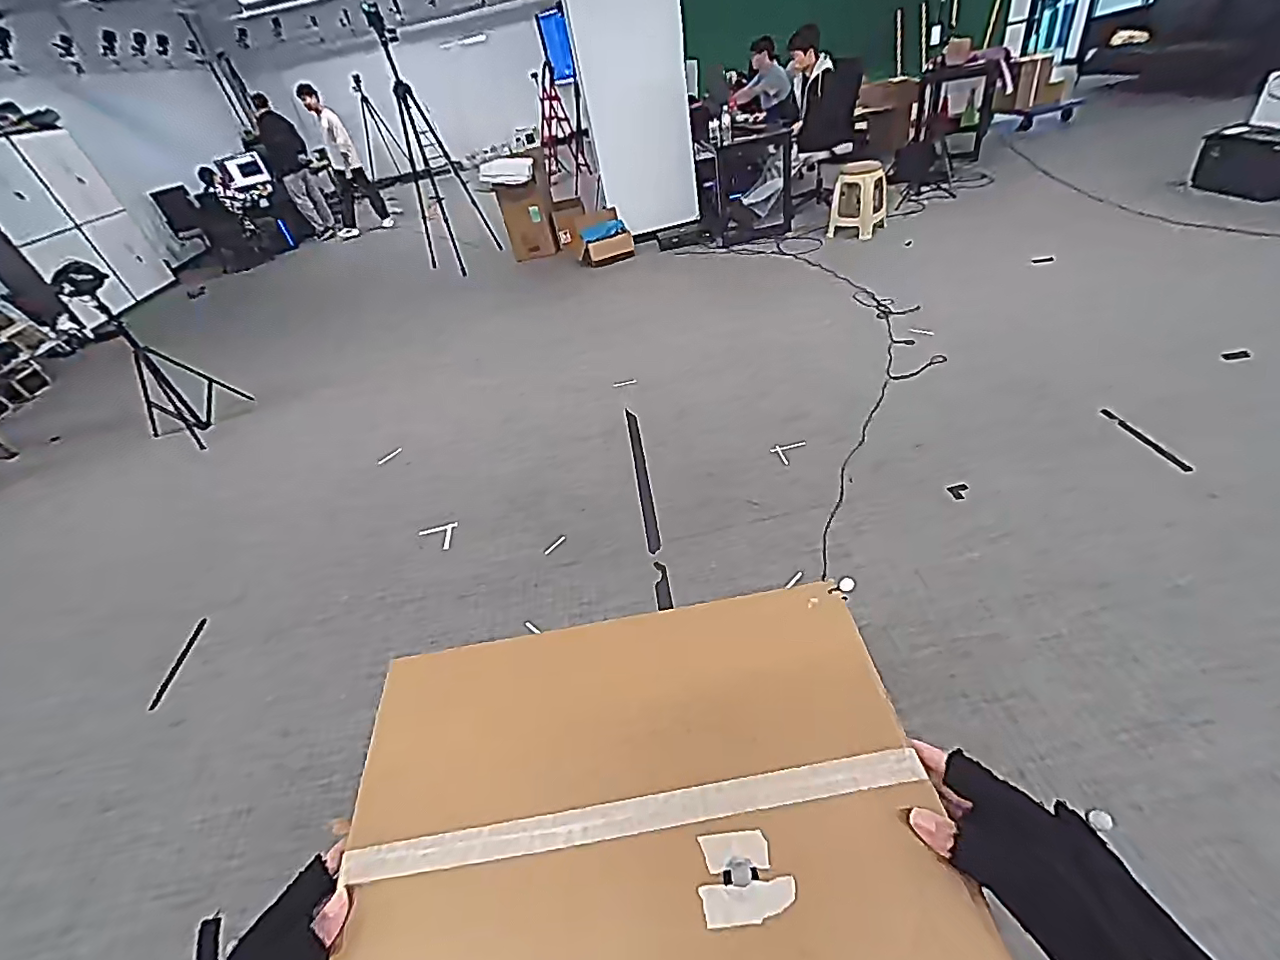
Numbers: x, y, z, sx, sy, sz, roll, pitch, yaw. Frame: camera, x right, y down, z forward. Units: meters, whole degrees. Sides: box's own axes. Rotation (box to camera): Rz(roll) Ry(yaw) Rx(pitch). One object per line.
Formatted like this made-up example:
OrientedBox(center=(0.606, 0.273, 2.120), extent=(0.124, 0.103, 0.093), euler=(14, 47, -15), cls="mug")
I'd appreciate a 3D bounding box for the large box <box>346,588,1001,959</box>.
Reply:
OrientedBox(center=(0.016, 0.344, 0.490), extent=(0.408, 0.320, 0.320), euler=(-10, 45, 0), cls="large box")
